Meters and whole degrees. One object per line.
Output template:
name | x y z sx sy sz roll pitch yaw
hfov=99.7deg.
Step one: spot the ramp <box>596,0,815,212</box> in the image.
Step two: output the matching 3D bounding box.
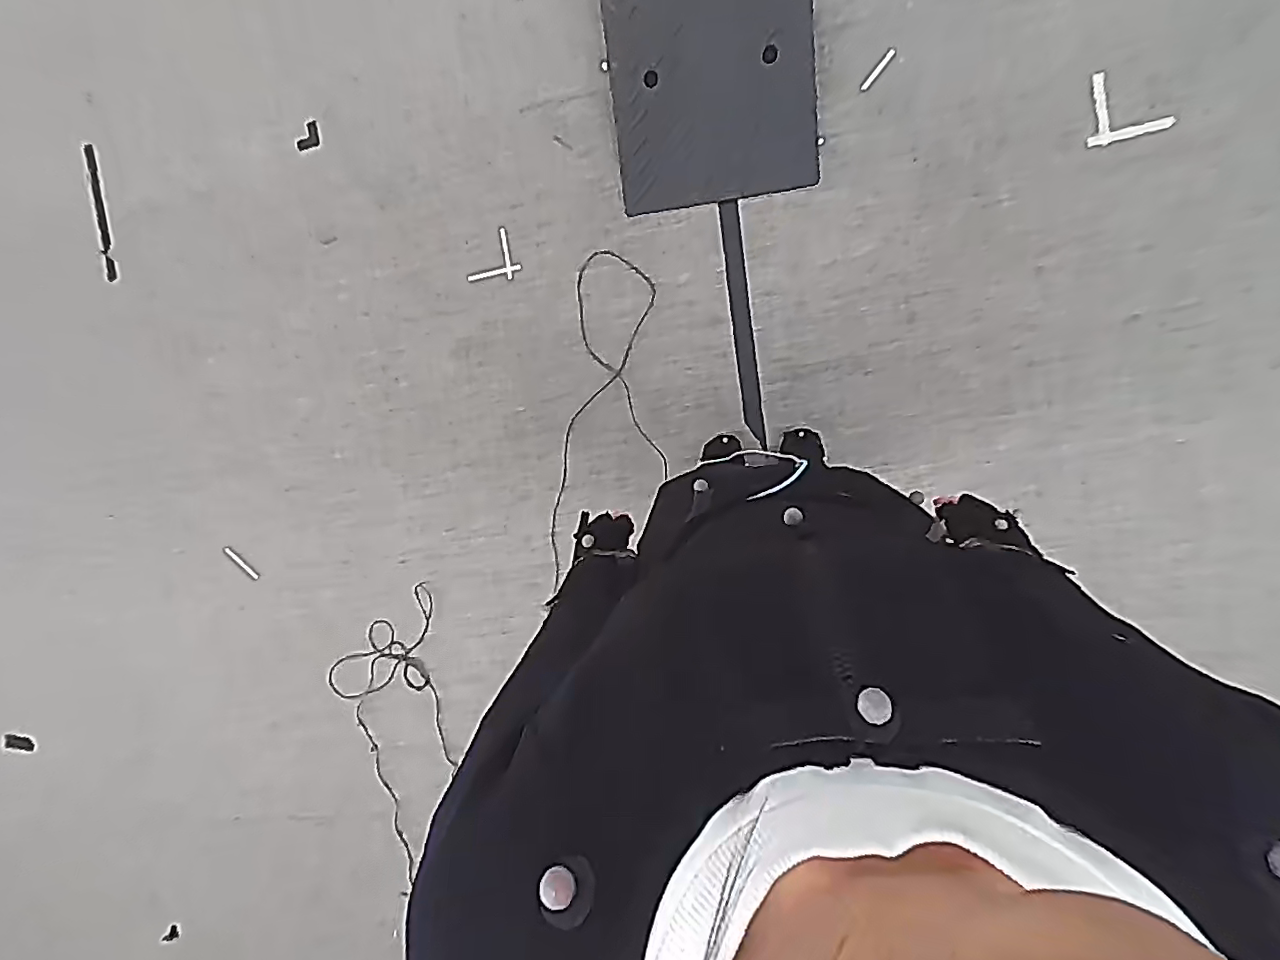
ramp | 0.133 -1.198 1.248 0.509 0.206 0.991 -7 95 8
